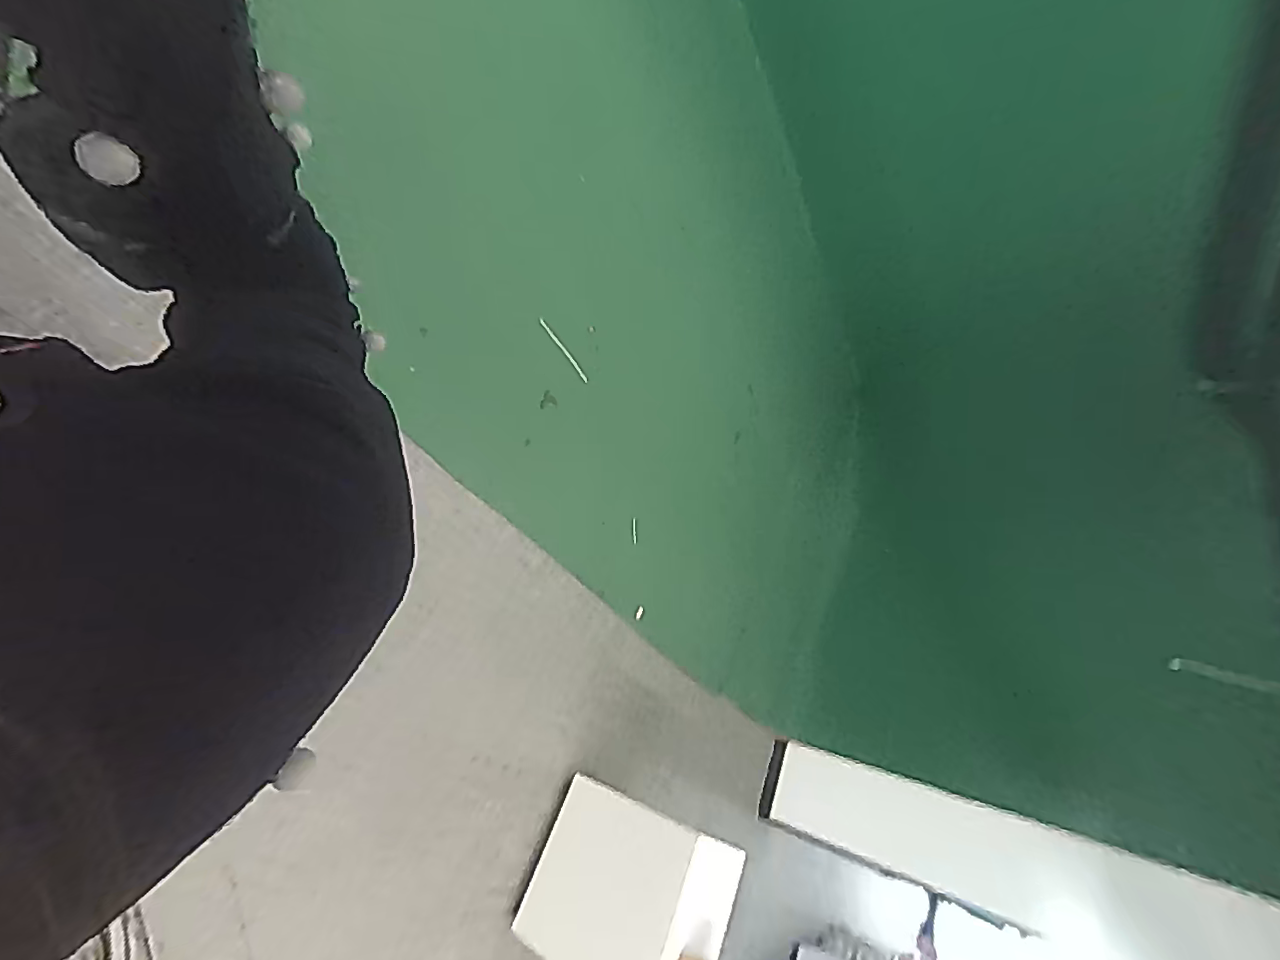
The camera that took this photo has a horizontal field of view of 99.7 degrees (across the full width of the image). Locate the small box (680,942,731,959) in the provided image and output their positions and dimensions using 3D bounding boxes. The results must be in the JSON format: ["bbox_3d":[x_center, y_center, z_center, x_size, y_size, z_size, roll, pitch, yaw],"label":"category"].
[{"bbox_3d":[0.211,1.522,1.612,0.179,0.176,0.168,50,55,-40],"label":"small box"}]
